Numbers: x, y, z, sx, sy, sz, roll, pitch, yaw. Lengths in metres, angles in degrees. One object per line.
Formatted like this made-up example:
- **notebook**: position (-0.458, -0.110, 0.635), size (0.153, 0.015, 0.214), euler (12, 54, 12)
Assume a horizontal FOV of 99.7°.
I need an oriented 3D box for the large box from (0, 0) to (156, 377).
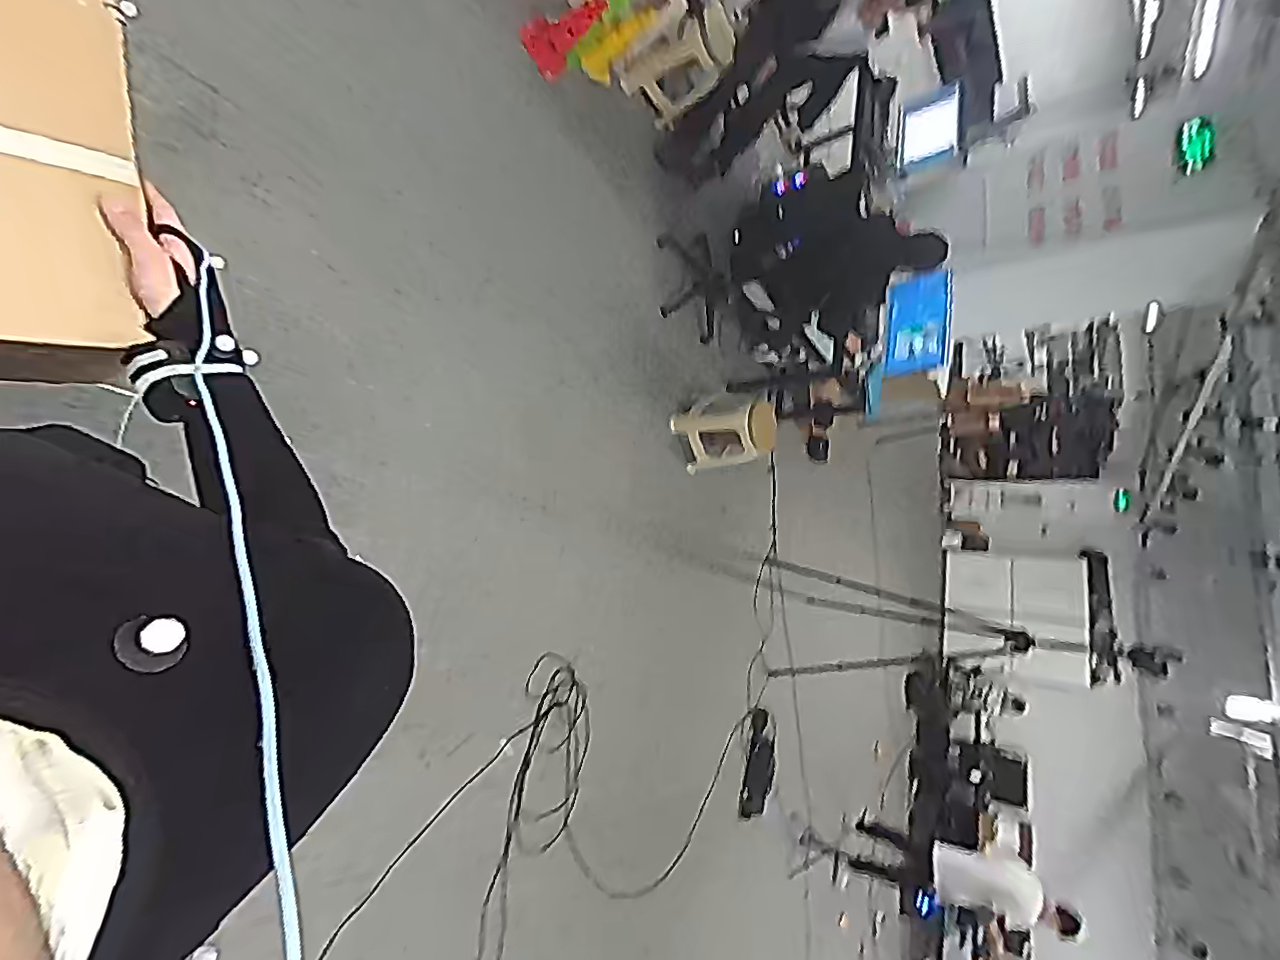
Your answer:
- **large box**: position (-0.710, -0.259, 0.434), size (0.408, 0.320, 0.320), euler (-10, 99, -52)
